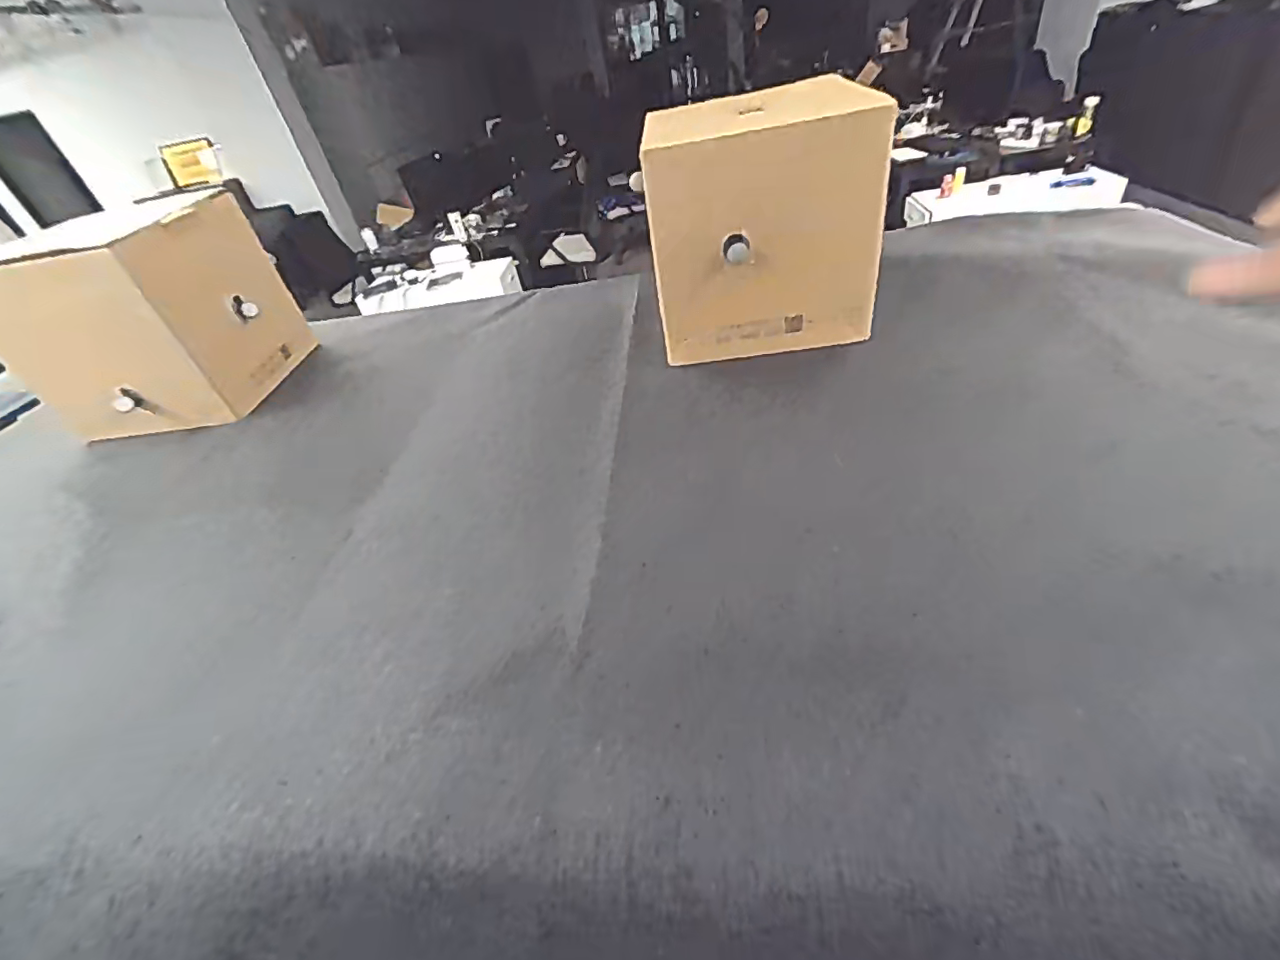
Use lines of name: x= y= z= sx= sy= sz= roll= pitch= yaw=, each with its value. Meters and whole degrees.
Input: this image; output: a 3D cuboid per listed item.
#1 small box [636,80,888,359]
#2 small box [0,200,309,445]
small box: x=0.095 y=-0.214 z=0.461 sx=0.168 sy=0.176 sz=0.179 roll=-6 pitch=40 yaw=8
small box: x=-0.475 y=-0.152 z=0.532 sx=0.179 sy=0.176 sz=0.168 roll=-6 pitch=40 yaw=6
